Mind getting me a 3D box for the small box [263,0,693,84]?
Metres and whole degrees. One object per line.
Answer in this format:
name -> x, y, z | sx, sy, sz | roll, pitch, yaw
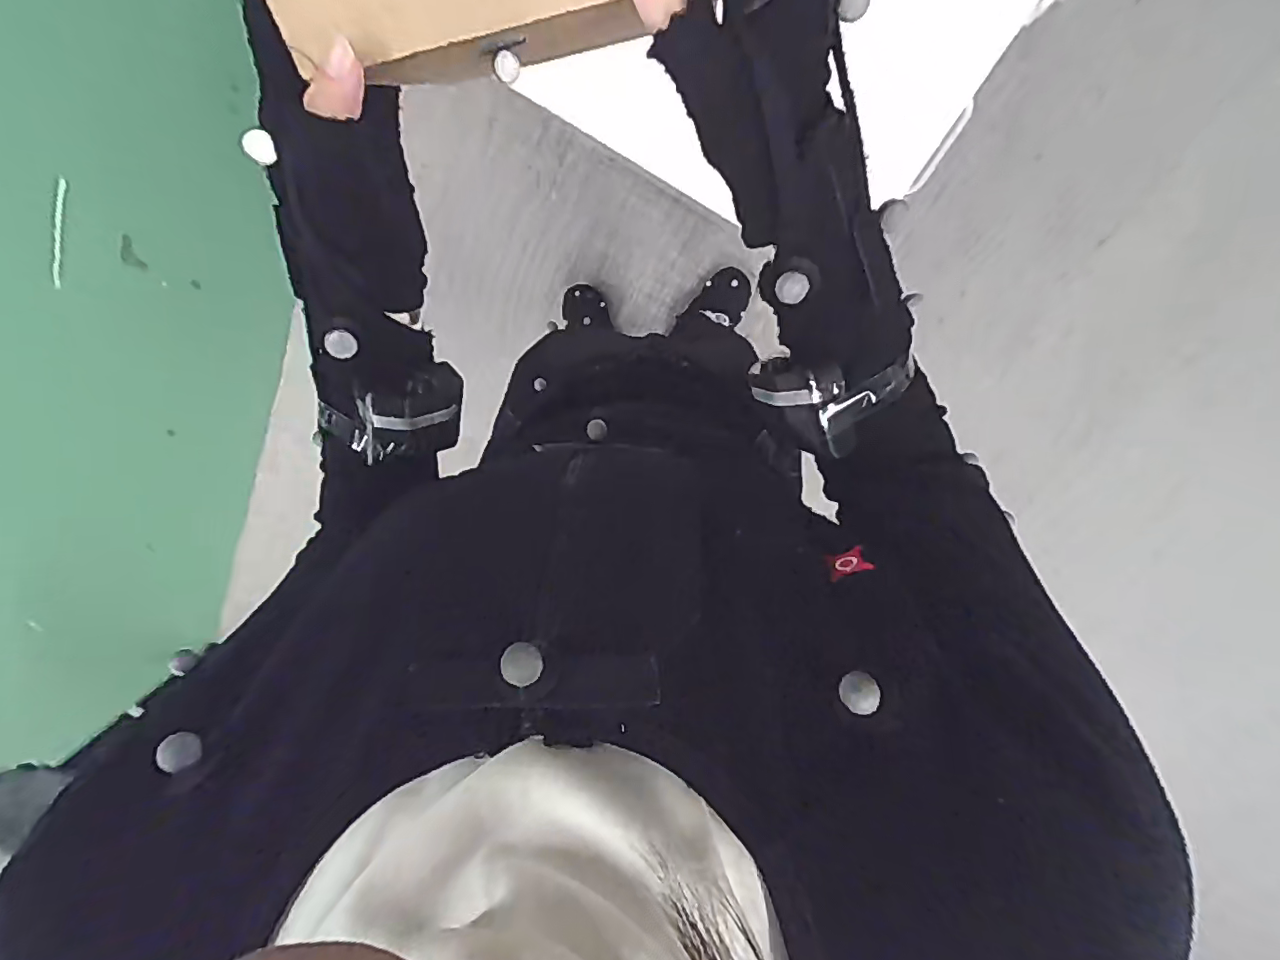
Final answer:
small box -> -0.069, -0.291, 0.235 | 0.179, 0.176, 0.168 | -7, 124, 10
